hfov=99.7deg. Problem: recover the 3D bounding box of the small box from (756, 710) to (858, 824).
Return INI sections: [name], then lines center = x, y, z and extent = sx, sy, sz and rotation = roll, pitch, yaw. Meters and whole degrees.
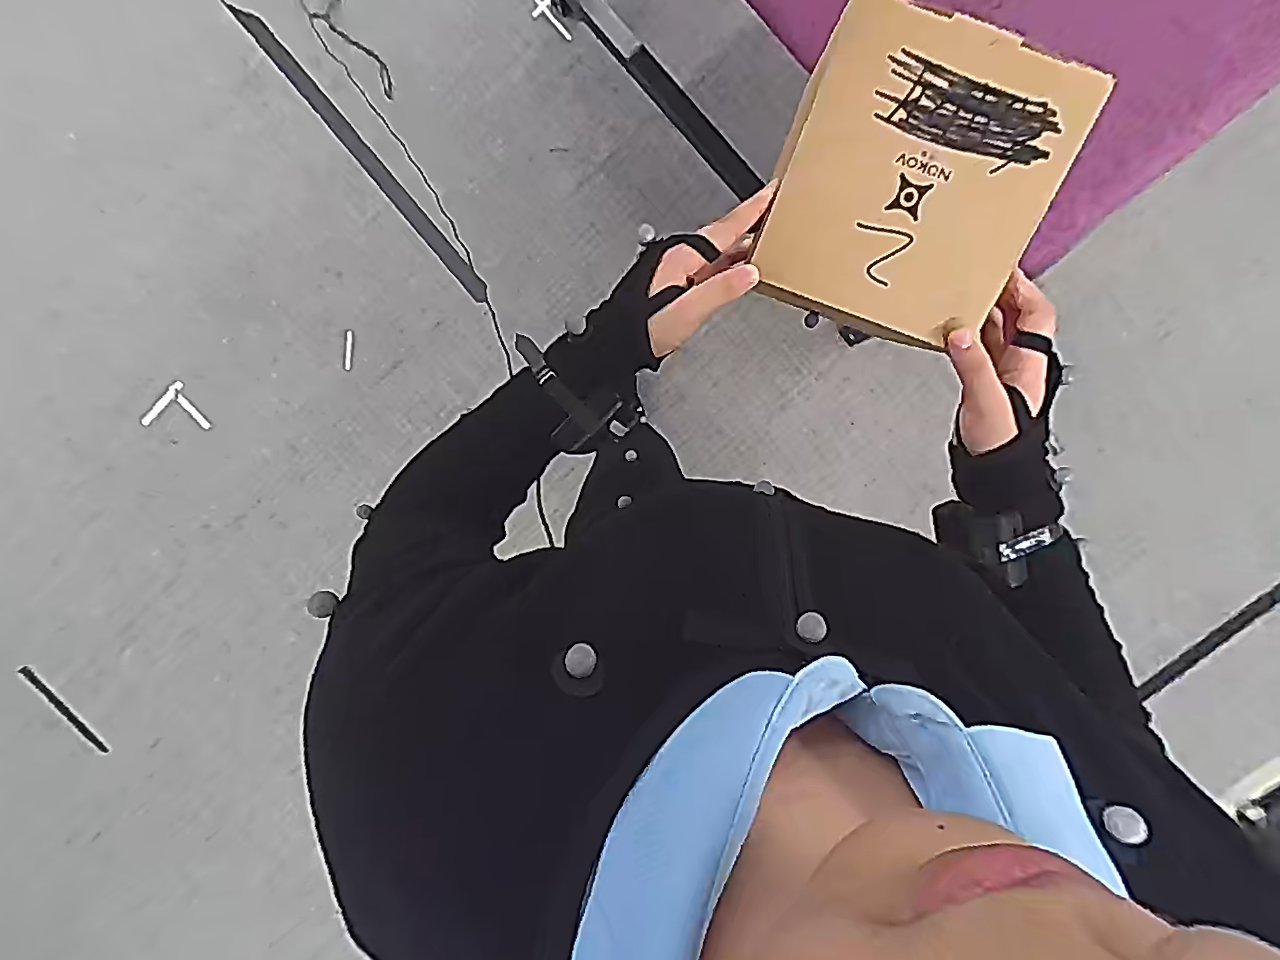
[small box]
center = 0.426, 0.734, 1.414
extent = 0.168, 0.176, 0.179
rotation = -44, 93, 7
